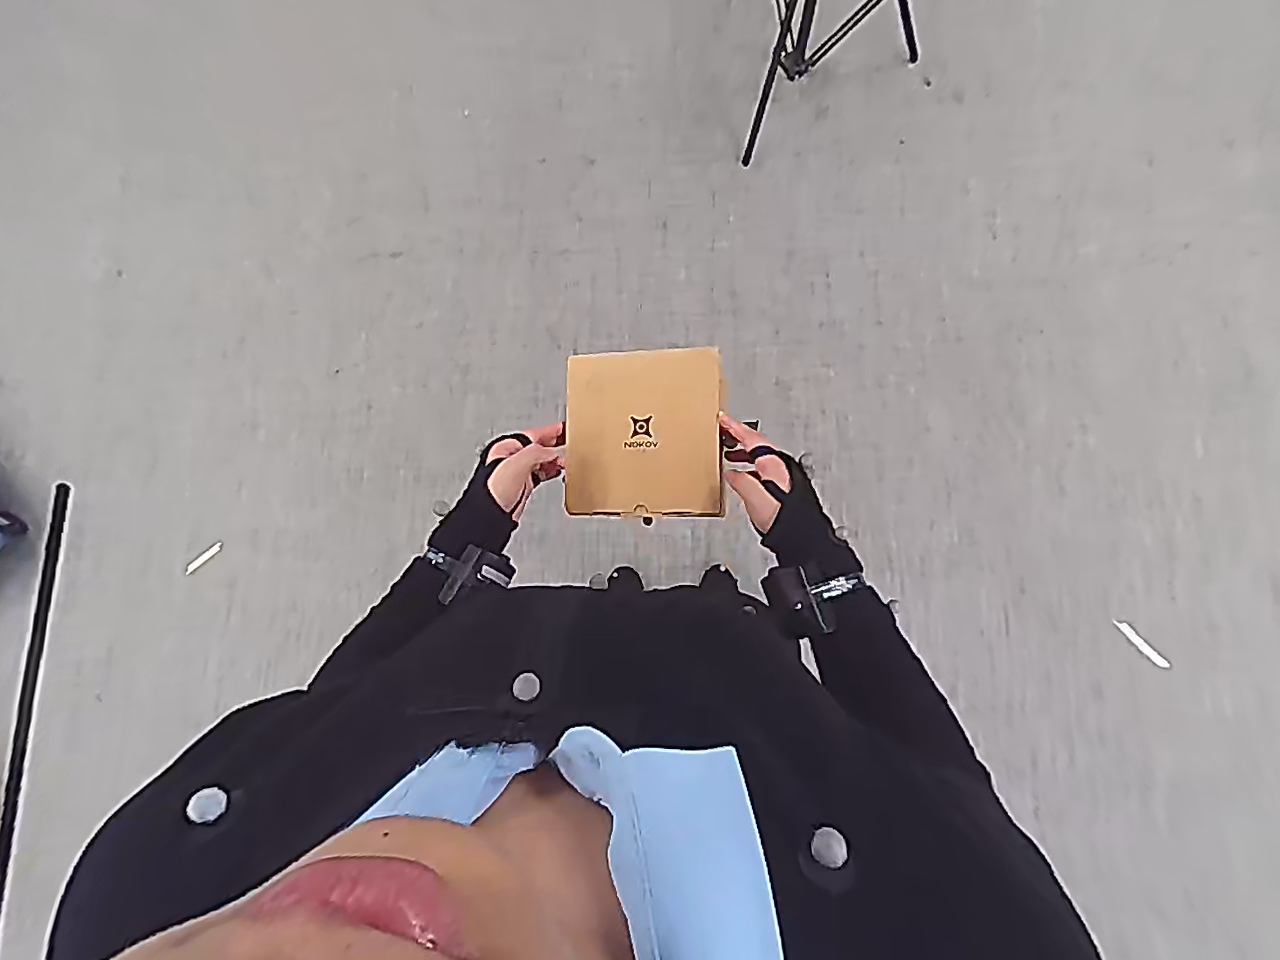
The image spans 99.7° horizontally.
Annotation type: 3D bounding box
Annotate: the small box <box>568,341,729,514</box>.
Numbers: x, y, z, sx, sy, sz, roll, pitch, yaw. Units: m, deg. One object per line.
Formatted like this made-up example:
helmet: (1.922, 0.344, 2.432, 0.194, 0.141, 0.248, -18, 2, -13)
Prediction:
small box: (0.019, -0.049, 0.635, 0.168, 0.176, 0.179, -1, 87, 10)
